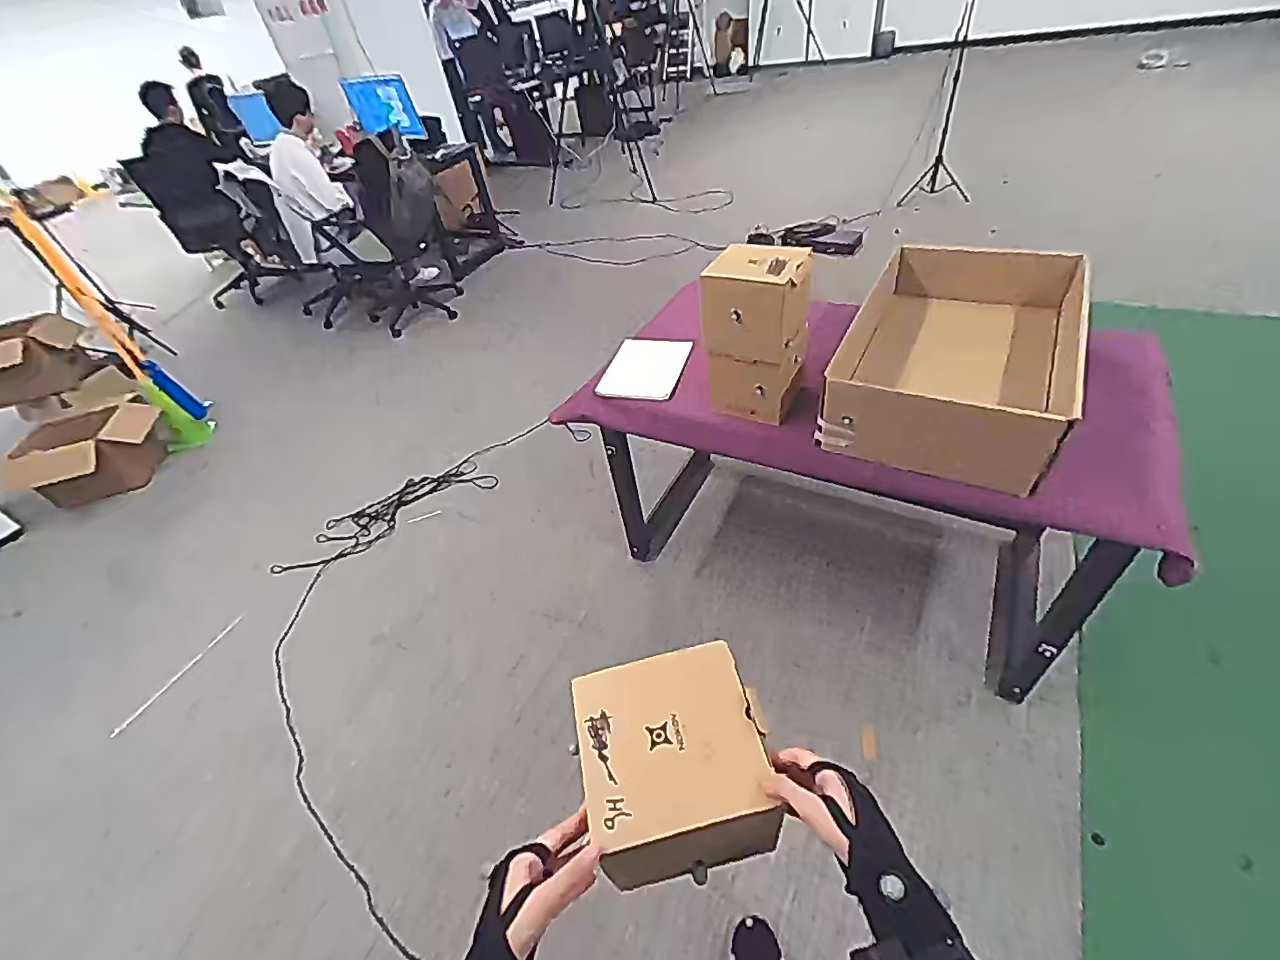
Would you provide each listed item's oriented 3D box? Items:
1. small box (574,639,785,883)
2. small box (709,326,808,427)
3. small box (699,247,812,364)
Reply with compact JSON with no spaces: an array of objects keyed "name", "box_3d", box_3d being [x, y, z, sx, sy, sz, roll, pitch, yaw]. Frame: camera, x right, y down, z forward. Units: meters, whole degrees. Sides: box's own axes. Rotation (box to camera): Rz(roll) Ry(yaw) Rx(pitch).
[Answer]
[{"name":"small box","box_3d":[0.036,0.299,0.577,0.179,0.176,0.168,-12,43,-4]},{"name":"small box","box_3d":[0.270,-0.244,1.228,0.168,0.176,0.179,17,49,26]},{"name":"small box","box_3d":[0.237,-0.357,1.114,0.179,0.176,0.168,17,49,27]}]
